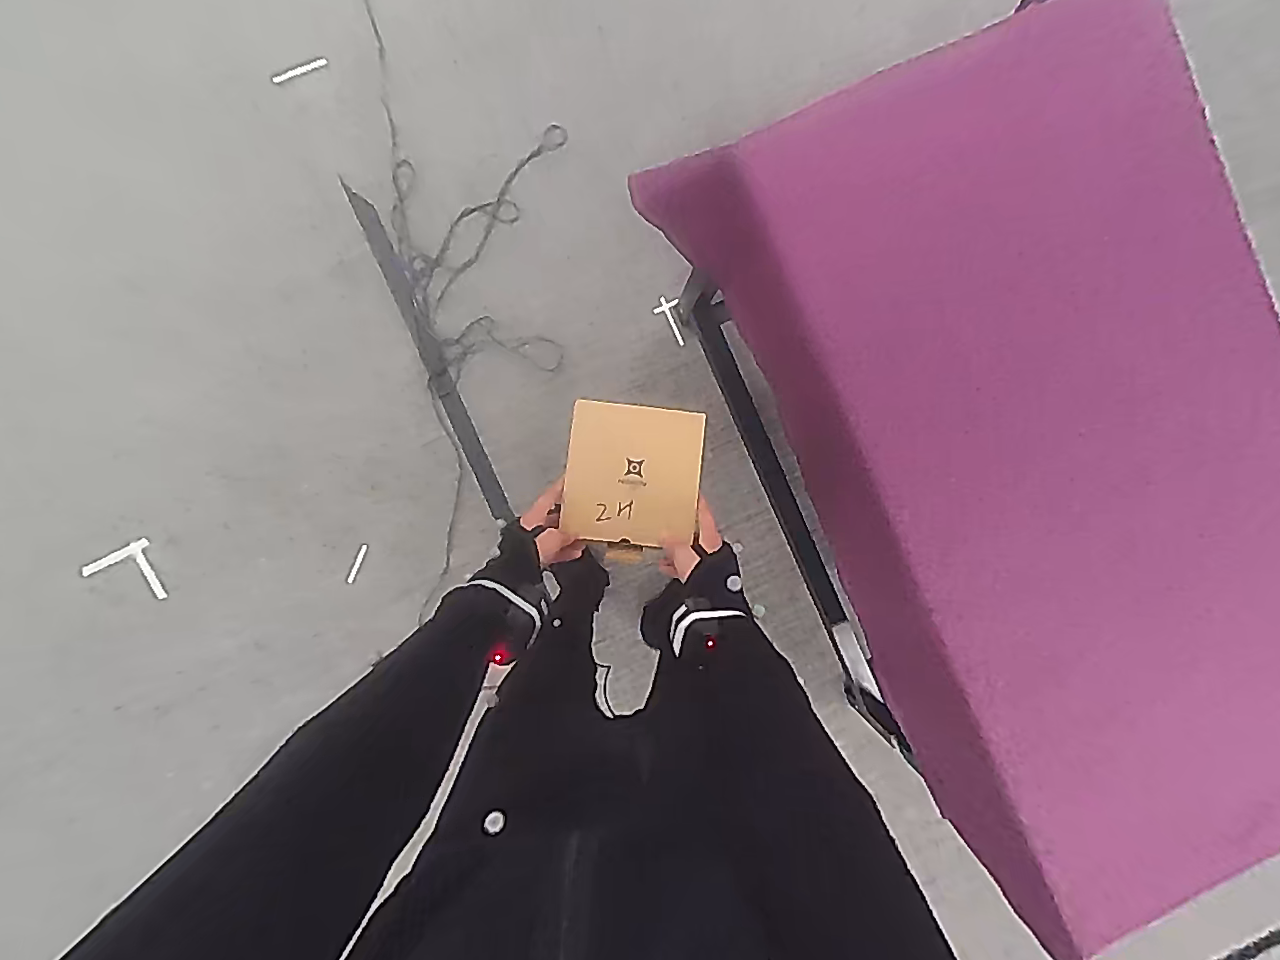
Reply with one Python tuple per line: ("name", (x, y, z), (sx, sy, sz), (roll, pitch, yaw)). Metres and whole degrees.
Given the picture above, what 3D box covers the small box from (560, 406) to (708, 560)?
("small box", (-0.007, 0.012, 0.744), (0.168, 0.176, 0.179), (7, 83, 1))
